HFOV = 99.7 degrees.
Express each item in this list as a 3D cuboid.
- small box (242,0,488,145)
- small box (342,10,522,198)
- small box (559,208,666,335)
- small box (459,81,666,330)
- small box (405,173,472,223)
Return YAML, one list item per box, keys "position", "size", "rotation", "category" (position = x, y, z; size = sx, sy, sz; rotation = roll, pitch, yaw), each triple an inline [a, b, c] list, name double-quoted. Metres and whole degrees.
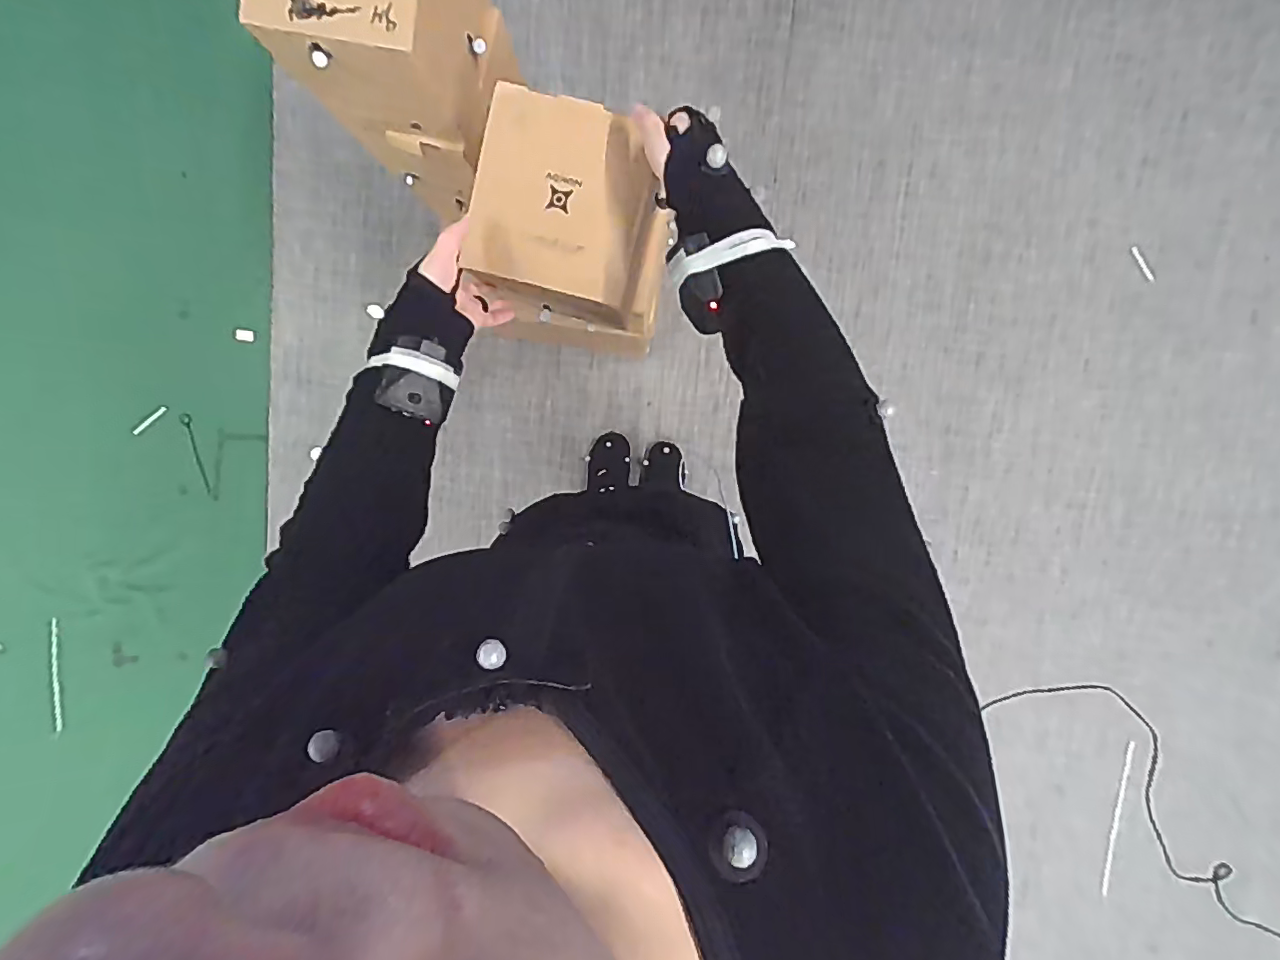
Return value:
- position: [-0.273, -0.502, 0.576]
  size: [0.168, 0.176, 0.179]
  rotation: [11, 96, 1]
  category: "small box"
- position: [-0.266, -0.512, 0.740]
  size: [0.168, 0.176, 0.179]
  rotation: [17, 95, -1]
  category: "small box"
- position: [-0.048, -0.350, 0.918]
  size: [0.168, 0.176, 0.179]
  rotation: [7, 97, 0]
  category: "small box"
- position: [-0.075, -0.281, 0.597]
  size: [0.168, 0.176, 0.179]
  rotation: [15, 97, 0]
  category: "small box"
- position: [-0.258, -0.528, 0.904]
  size: [0.179, 0.176, 0.168]
  rotation: [15, 97, -1]
  category: "small box"
